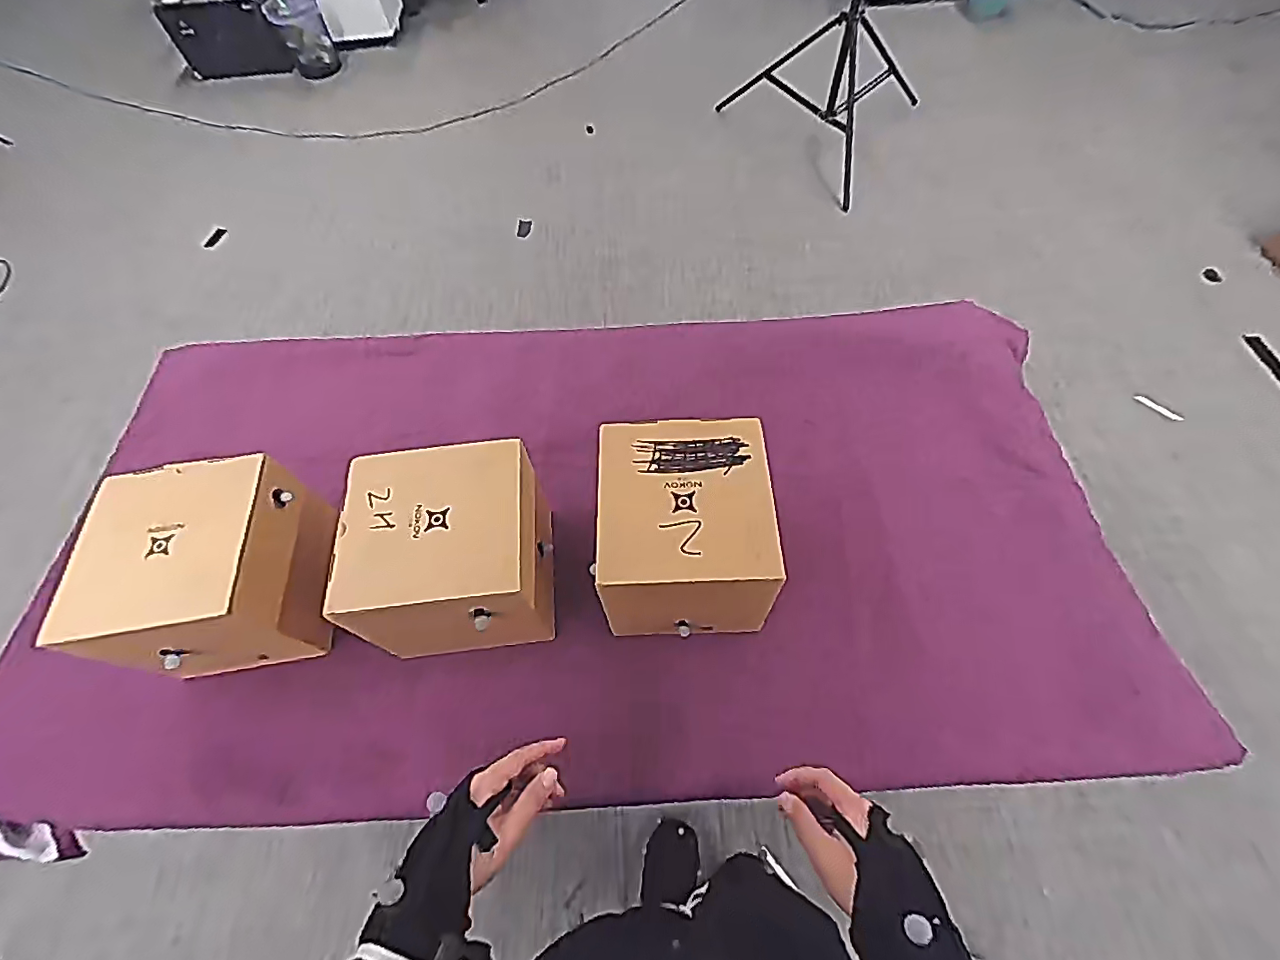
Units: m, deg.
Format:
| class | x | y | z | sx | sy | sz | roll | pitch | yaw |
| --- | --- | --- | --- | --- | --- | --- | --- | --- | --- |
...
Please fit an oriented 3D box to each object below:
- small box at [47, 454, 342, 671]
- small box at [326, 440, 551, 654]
| class | x | y | z | sx | sy | sz | roll | pitch | yaw |
| --- | --- | --- | --- | --- | --- | --- | --- | --- | --- |
| small box | -0.449 | 0.099 | 0.586 | 0.168 | 0.176 | 0.179 | -10 | 59 | -2 |
| small box | -0.193 | 0.078 | 0.580 | 0.179 | 0.176 | 0.168 | -7 | 59 | -1 |
